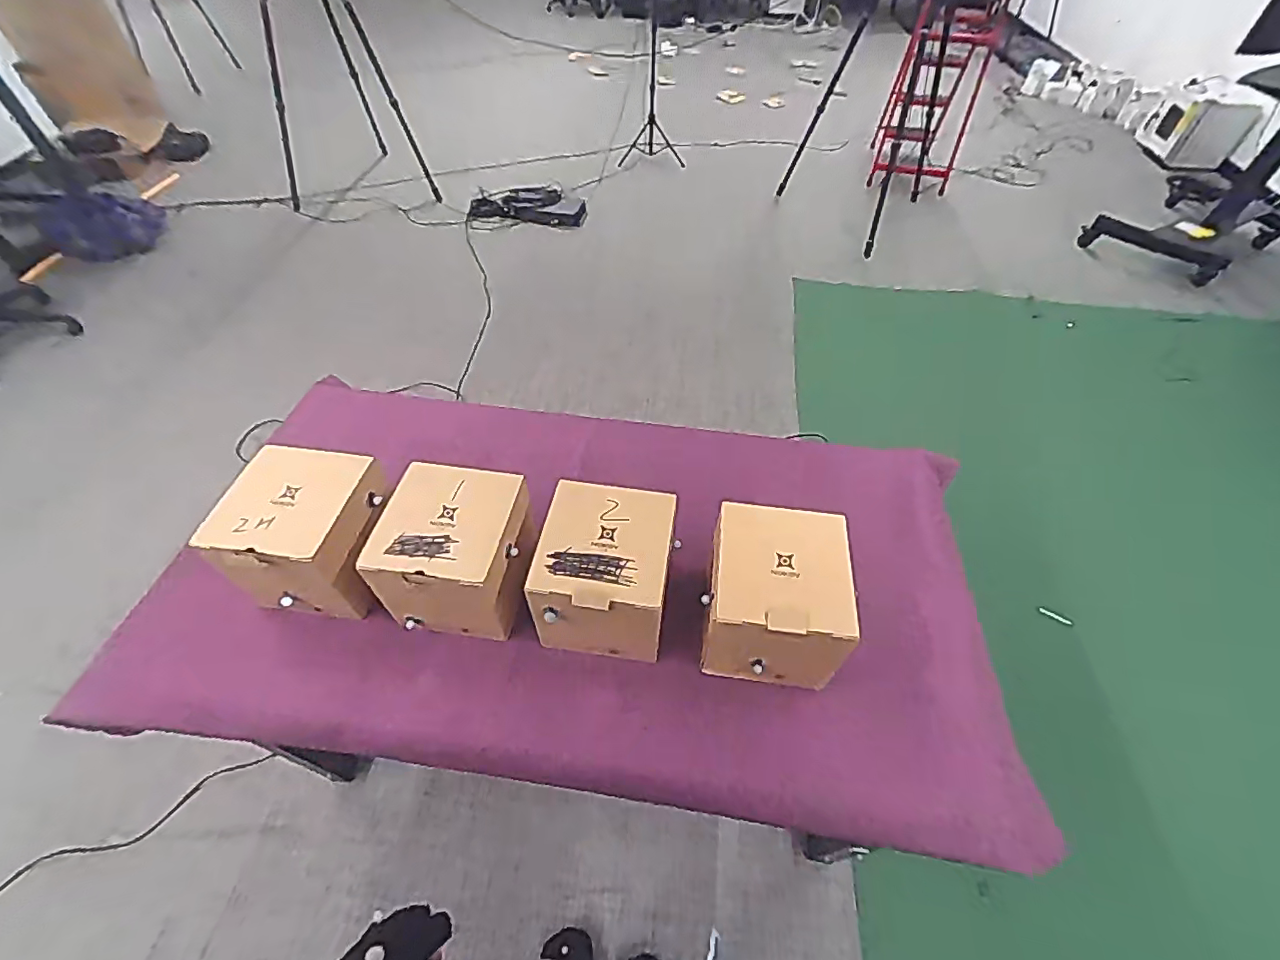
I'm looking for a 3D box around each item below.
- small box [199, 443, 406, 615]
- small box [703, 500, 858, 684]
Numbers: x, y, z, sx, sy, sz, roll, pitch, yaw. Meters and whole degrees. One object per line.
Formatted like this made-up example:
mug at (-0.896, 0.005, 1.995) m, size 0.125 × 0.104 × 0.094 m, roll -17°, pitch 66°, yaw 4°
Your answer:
small box at (-0.467, 0.072, 0.787) m, size 0.168 × 0.176 × 0.179 m, roll 7°, pitch 51°, yaw 5°
small box at (0.178, 0.153, 0.735) m, size 0.168 × 0.176 × 0.179 m, roll 7°, pitch 51°, yaw 5°
